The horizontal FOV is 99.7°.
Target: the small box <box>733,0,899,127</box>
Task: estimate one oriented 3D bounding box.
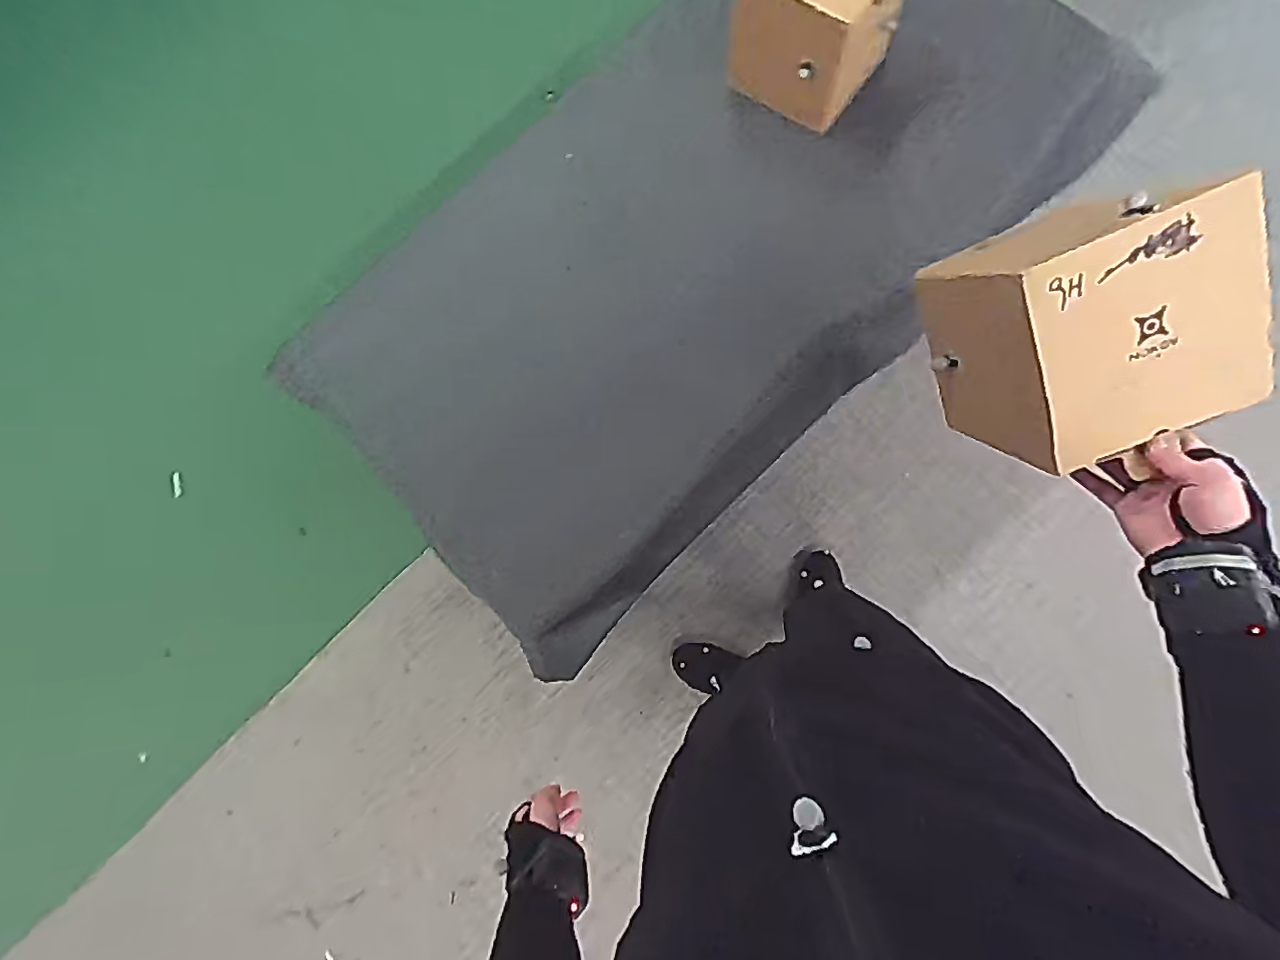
[{"bbox_3d":[0.252,-0.651,0.768,0.179,0.176,0.168,36,83,12],"label":"small box"}]
